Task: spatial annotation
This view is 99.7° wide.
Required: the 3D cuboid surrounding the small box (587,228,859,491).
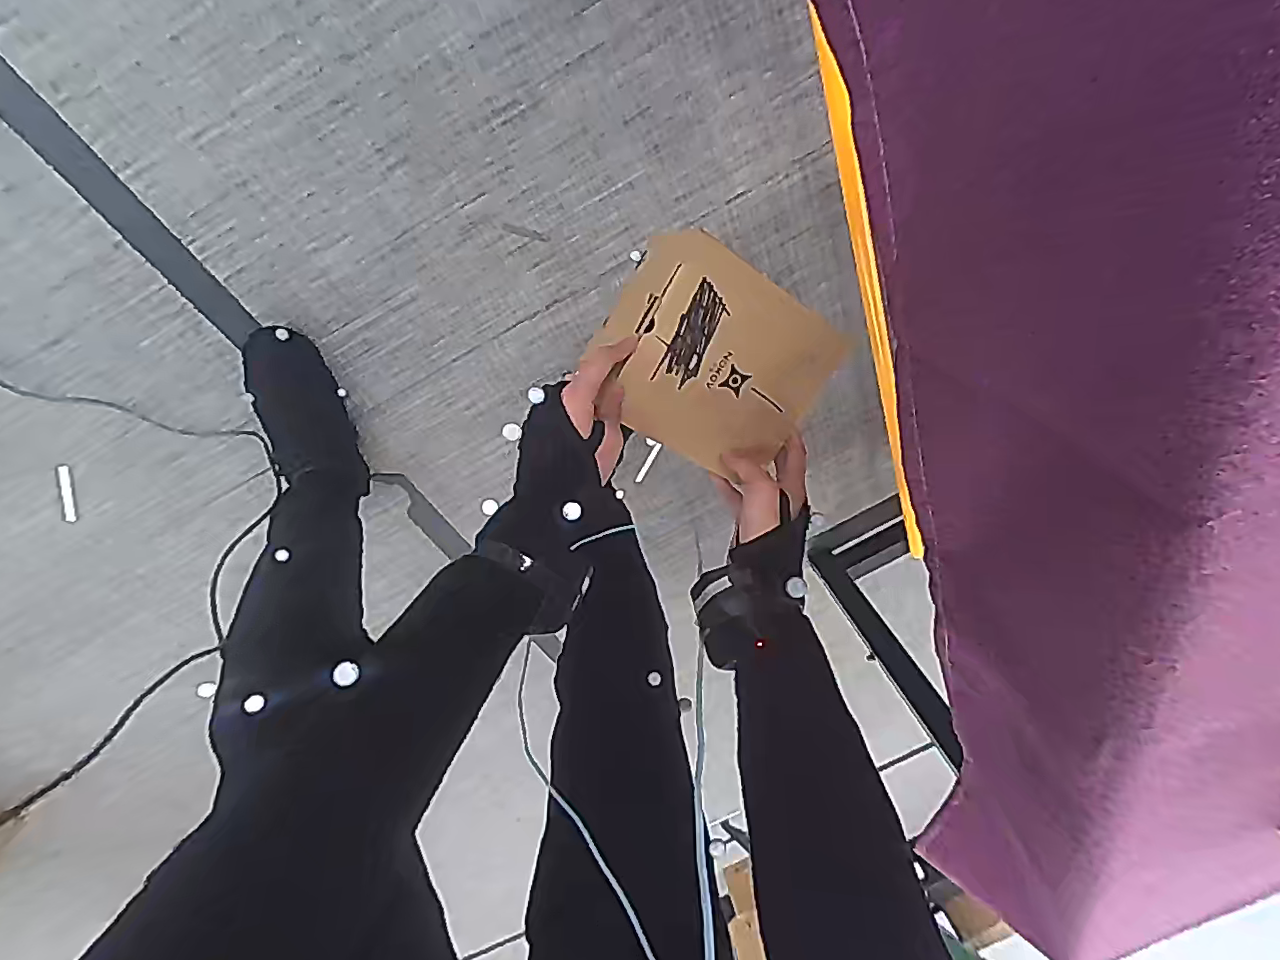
[{"bbox_3d":[0.064,-0.121,0.533,0.179,0.176,0.168,27,106,-22],"label":"small box"}]
